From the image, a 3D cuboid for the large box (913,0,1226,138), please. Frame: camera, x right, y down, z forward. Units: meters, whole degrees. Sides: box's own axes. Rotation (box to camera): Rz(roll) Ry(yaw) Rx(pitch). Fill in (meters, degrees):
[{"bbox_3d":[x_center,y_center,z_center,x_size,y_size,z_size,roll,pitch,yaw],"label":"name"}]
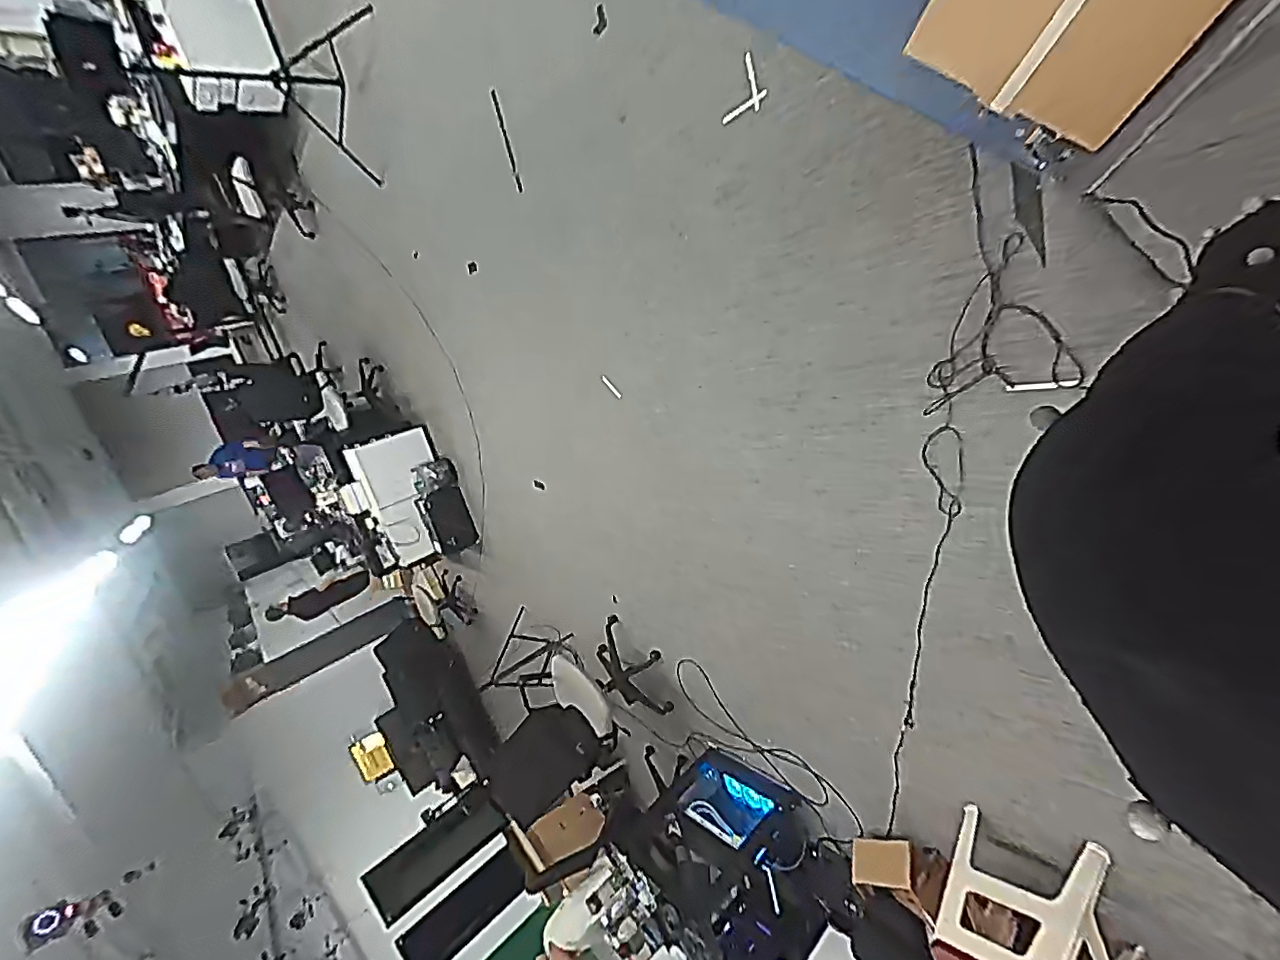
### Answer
[{"bbox_3d":[0.632,-0.762,0.724,0.320,0.320,0.408,28,137,2],"label":"large box"}]
